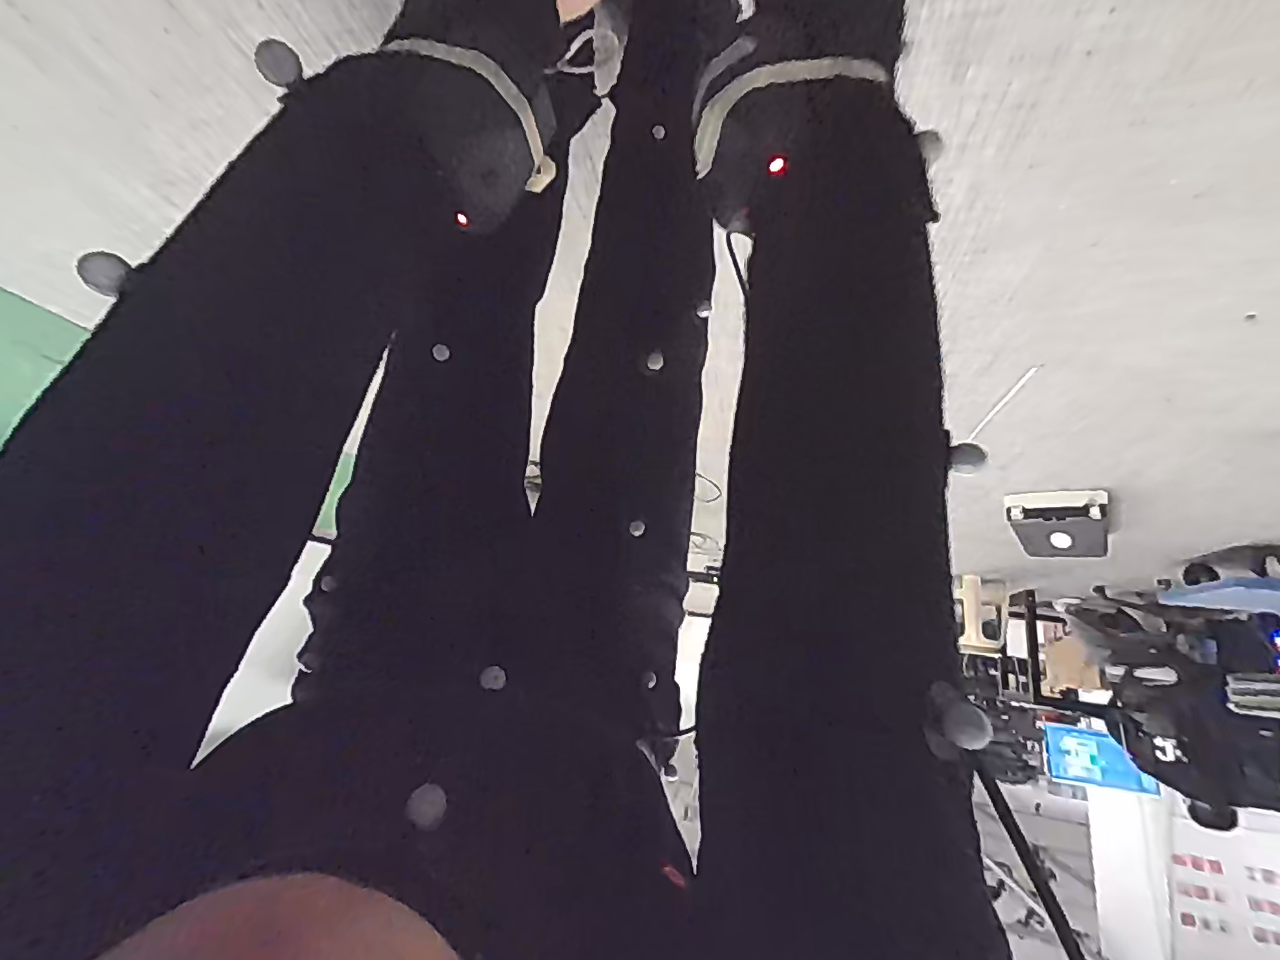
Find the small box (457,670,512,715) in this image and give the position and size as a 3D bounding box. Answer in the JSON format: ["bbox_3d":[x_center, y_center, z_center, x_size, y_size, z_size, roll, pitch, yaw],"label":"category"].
[{"bbox_3d":[-0.725,0.992,2.538,0.179,0.176,0.168,3,164,15],"label":"small box"}]
